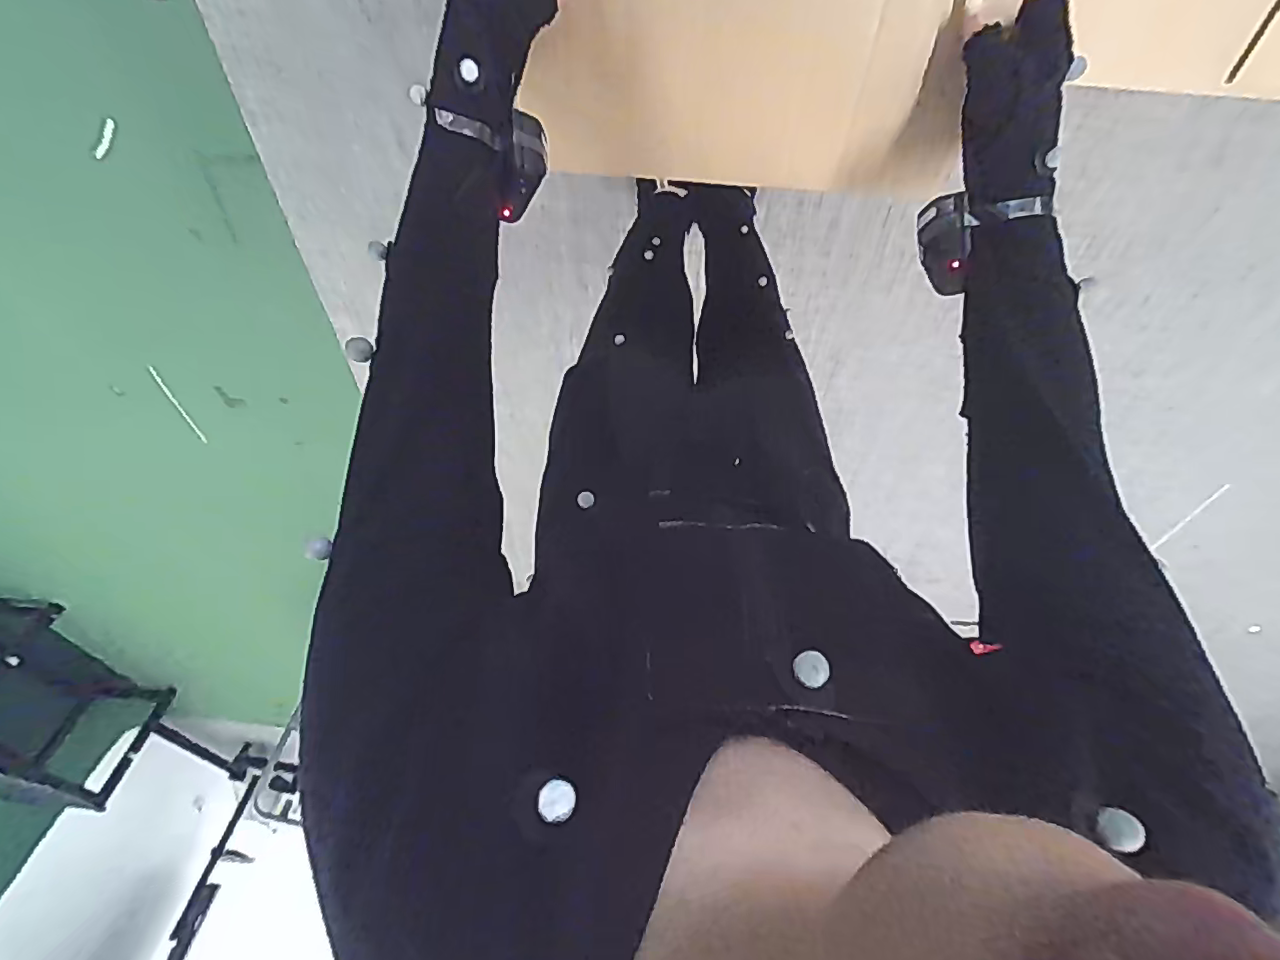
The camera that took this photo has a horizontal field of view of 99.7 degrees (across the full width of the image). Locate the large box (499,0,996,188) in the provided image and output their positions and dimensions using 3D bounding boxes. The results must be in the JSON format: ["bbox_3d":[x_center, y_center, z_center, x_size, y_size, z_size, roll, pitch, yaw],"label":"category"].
[{"bbox_3d":[0.100,-0.510,0.516,0.408,0.320,0.320,7,136,4],"label":"large box"}]
